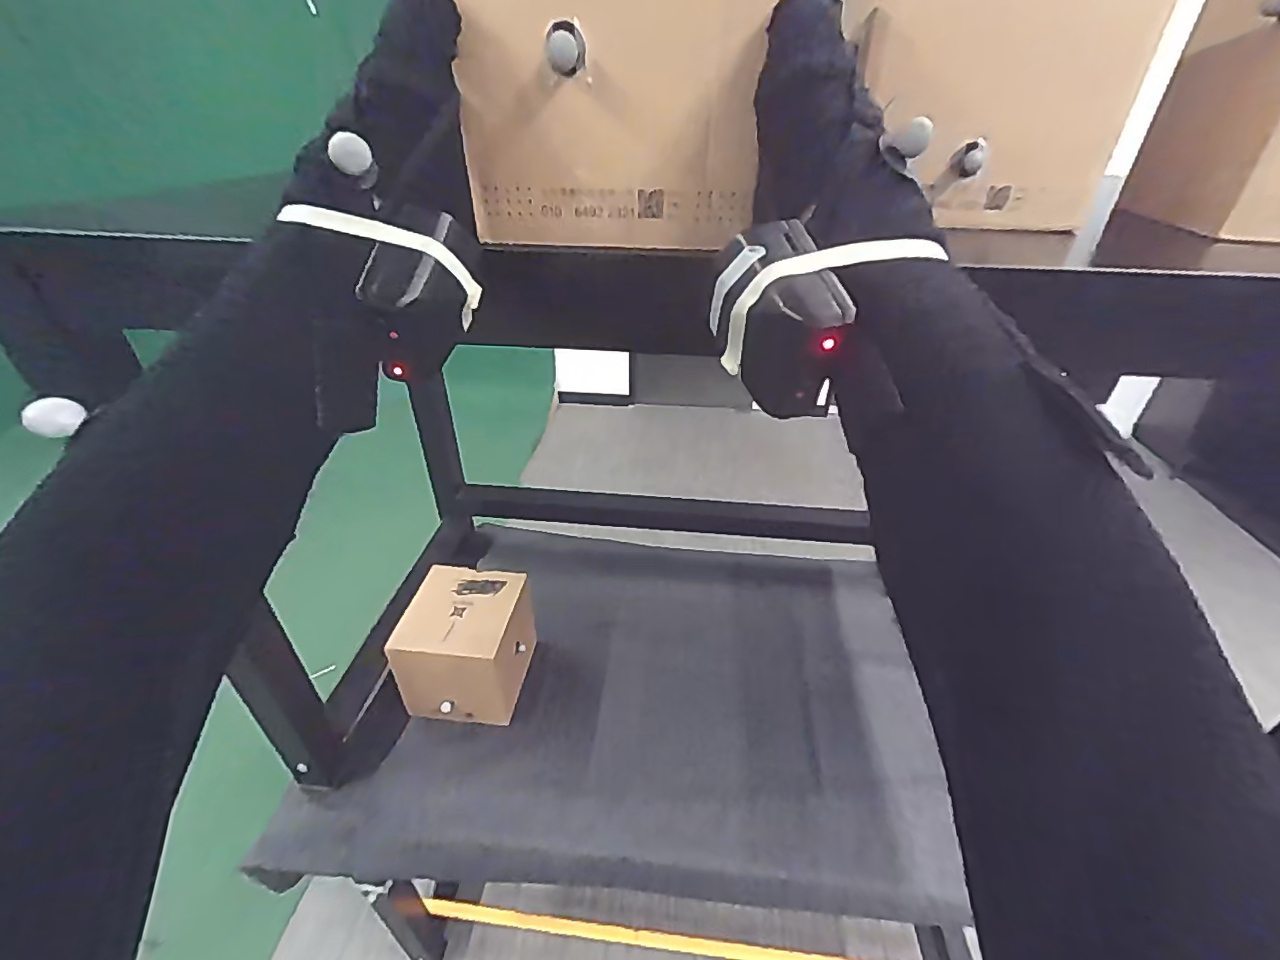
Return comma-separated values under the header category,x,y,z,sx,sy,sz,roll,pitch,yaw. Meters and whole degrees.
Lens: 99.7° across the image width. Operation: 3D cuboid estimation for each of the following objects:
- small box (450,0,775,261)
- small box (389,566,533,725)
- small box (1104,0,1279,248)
category,x,y,z,sx,sy,sz,roll,pitch,yaw
small box,-0.006,-0.246,0.352,0.168,0.176,0.179,3,33,4
small box,-0.278,0.267,0.888,0.168,0.176,0.179,4,34,4
small box,0.476,-0.255,0.369,0.168,0.176,0.179,11,34,14
